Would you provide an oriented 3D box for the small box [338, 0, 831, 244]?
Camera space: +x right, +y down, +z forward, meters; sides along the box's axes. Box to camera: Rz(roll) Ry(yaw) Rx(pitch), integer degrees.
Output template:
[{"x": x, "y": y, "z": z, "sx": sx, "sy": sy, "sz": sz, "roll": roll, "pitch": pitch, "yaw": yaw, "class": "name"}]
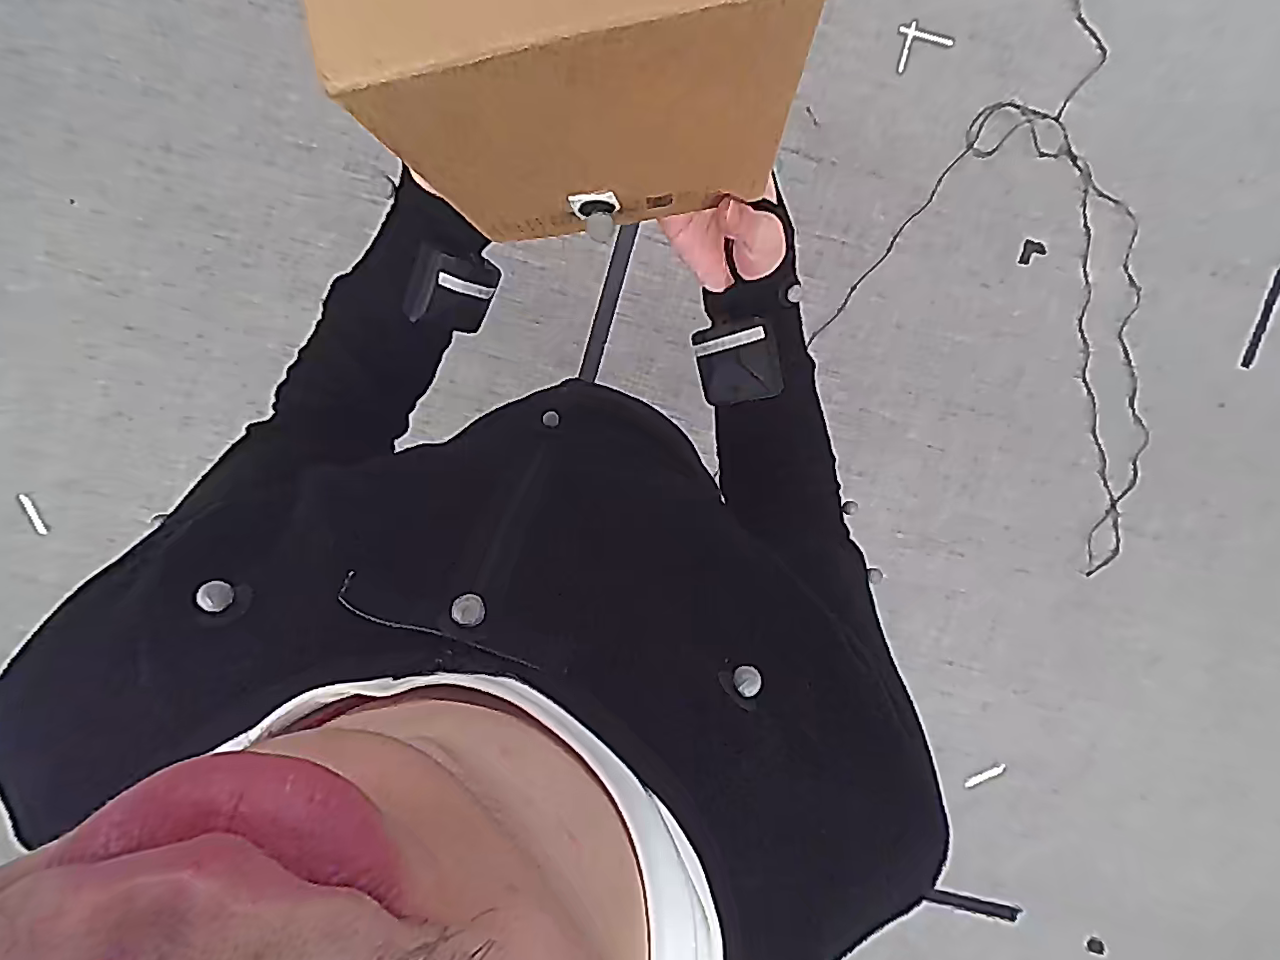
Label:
[{"x": -0.023, "y": -0.236, "z": 0.249, "sx": 0.168, "sy": 0.176, "sz": 0.179, "roll": -9, "pitch": 96, "yaw": 7, "class": "small box"}]
